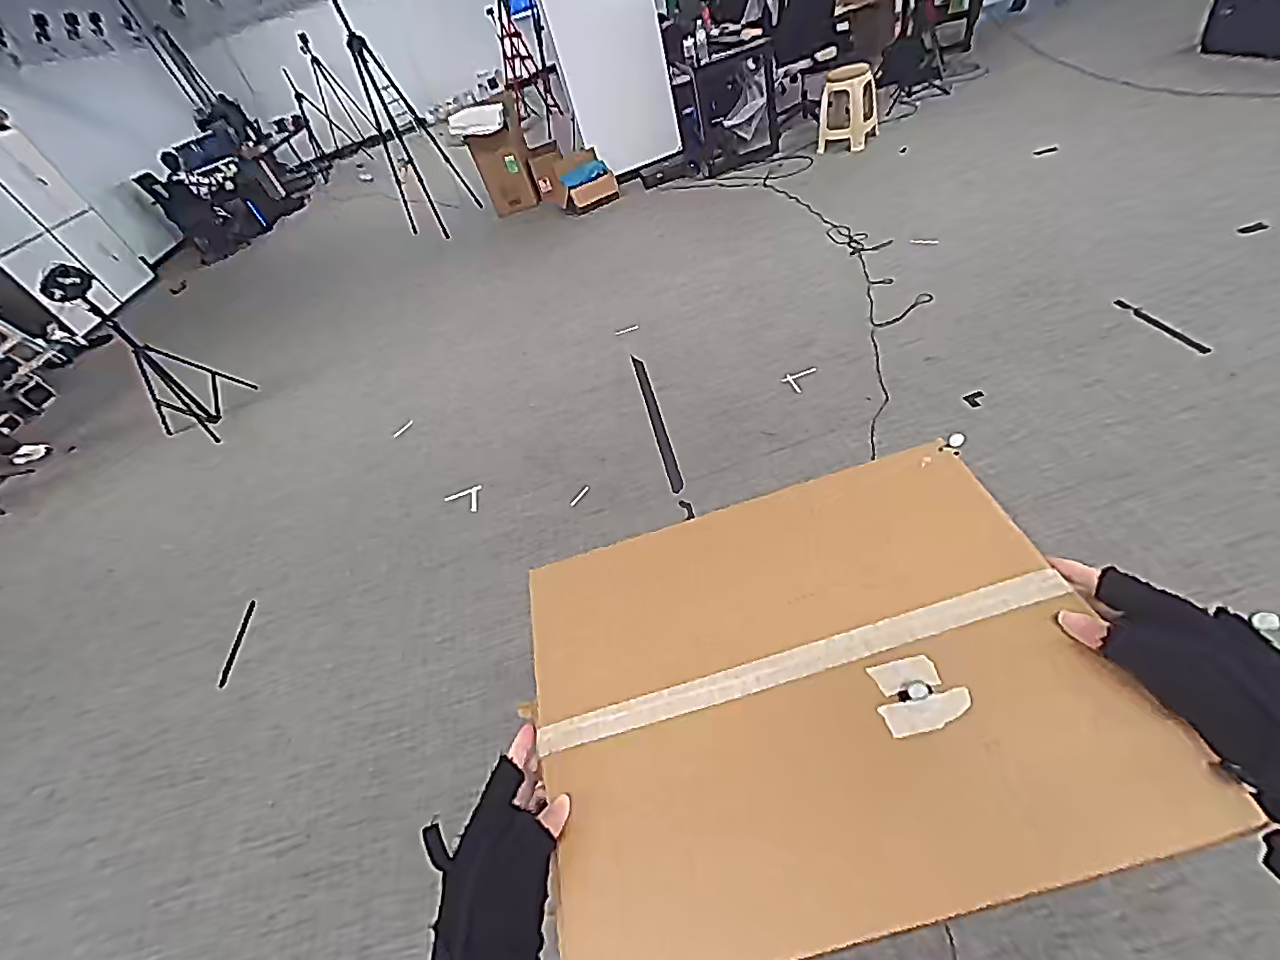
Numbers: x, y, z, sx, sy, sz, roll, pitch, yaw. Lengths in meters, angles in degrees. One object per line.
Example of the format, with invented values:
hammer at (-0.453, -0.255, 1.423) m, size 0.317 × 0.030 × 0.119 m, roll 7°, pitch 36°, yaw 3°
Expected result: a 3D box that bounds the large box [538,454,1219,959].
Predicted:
large box at (0.153, 0.238, 0.528) m, size 0.408 × 0.320 × 0.320 m, roll -18°, pitch 49°, yaw 2°
